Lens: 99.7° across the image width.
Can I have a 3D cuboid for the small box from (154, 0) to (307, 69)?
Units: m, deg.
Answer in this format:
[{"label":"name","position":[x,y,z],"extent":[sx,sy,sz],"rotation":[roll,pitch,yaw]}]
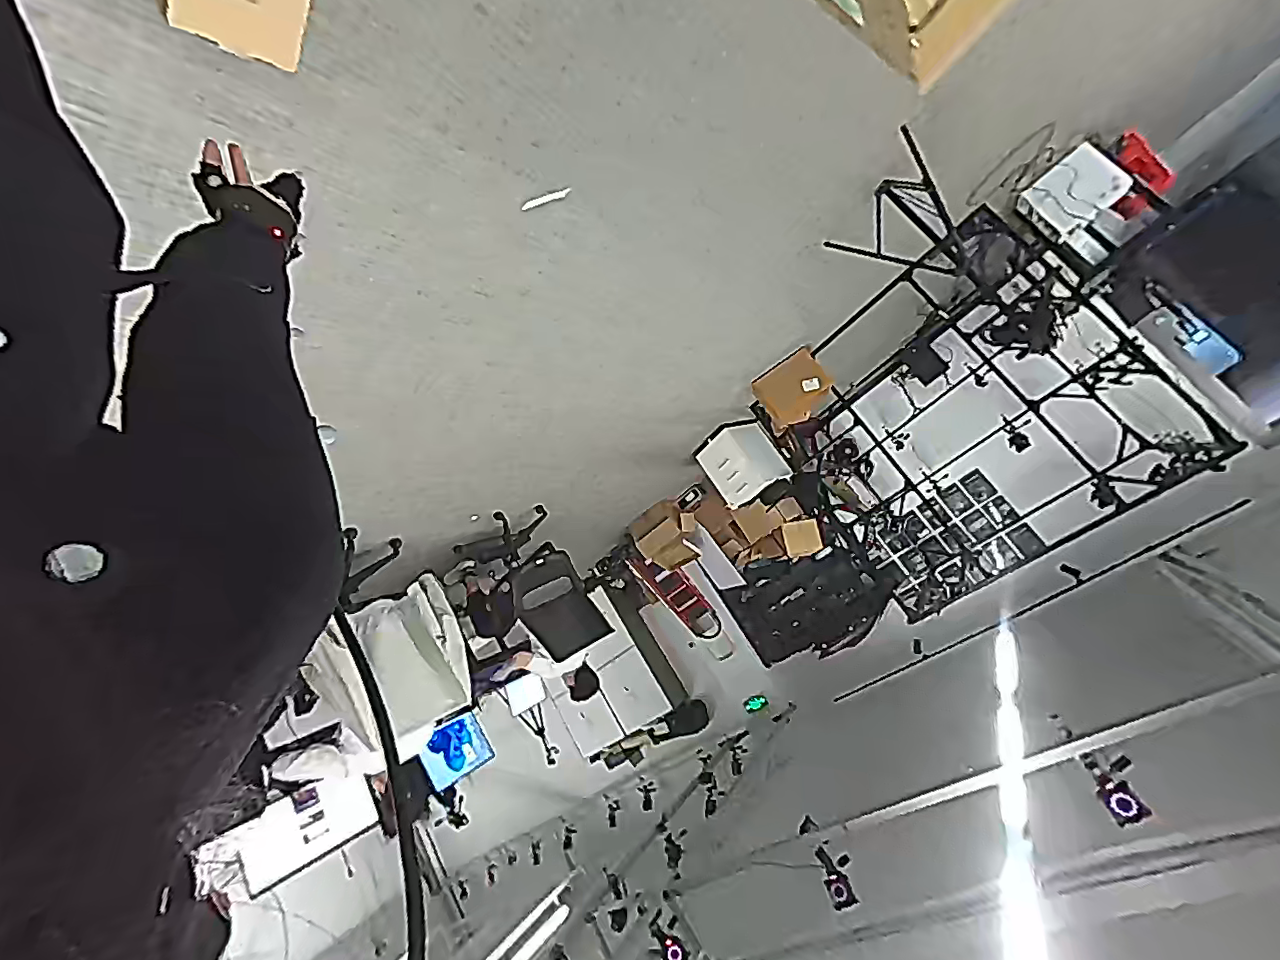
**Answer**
[{"label":"small box","position":[-0.610,-0.771,0.790],"extent":[0.168,0.176,0.179],"rotation":[-13,155,-50]}]
